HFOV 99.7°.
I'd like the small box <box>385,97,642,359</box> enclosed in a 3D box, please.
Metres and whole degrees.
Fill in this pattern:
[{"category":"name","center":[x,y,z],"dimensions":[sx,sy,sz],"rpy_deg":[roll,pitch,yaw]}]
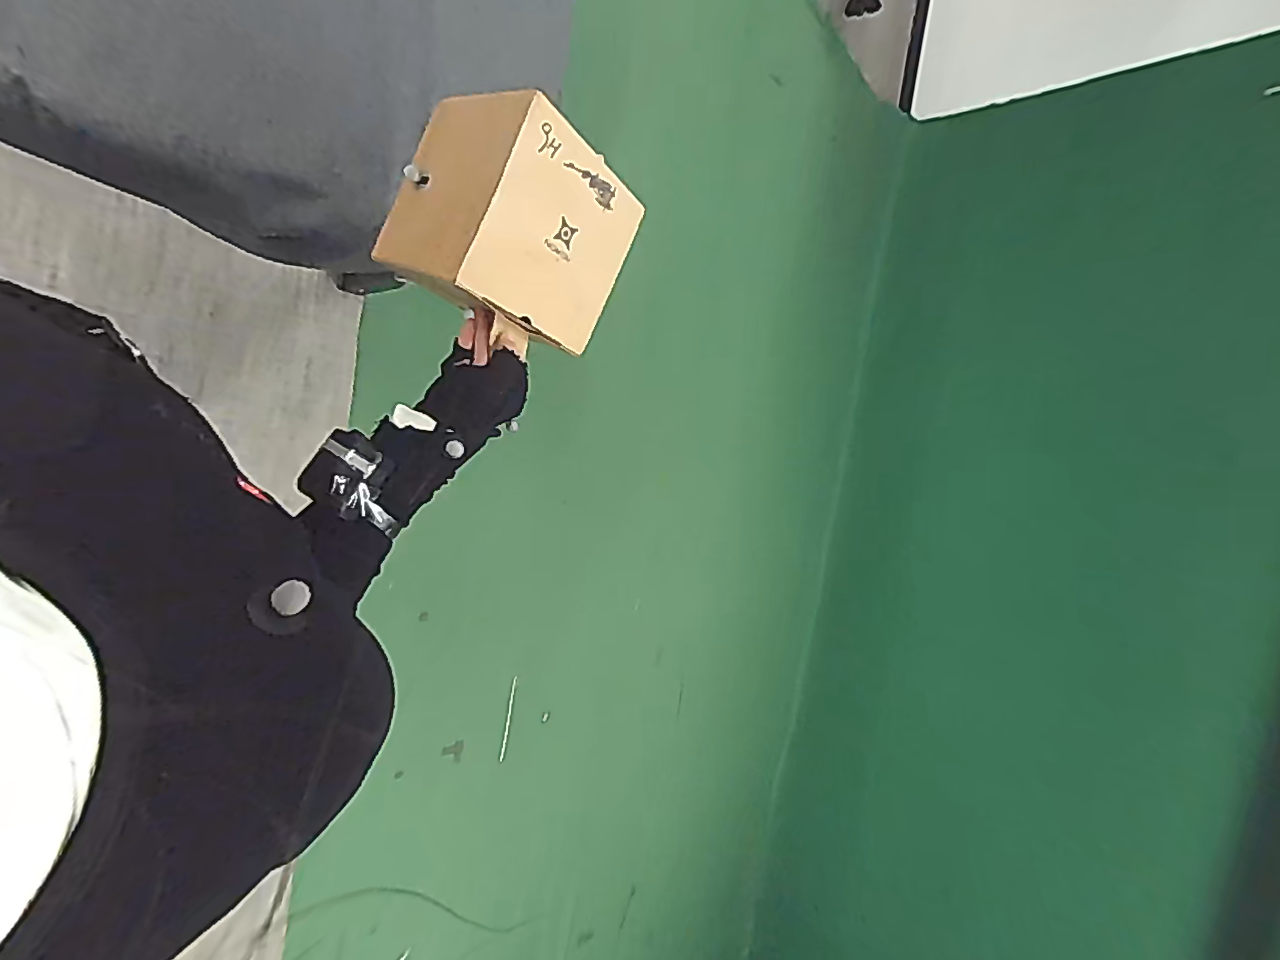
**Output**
[{"category":"small box","center":[-0.135,-0.256,0.565],"dimensions":[0.168,0.176,0.179],"rpy_deg":[21,96,-54]}]
